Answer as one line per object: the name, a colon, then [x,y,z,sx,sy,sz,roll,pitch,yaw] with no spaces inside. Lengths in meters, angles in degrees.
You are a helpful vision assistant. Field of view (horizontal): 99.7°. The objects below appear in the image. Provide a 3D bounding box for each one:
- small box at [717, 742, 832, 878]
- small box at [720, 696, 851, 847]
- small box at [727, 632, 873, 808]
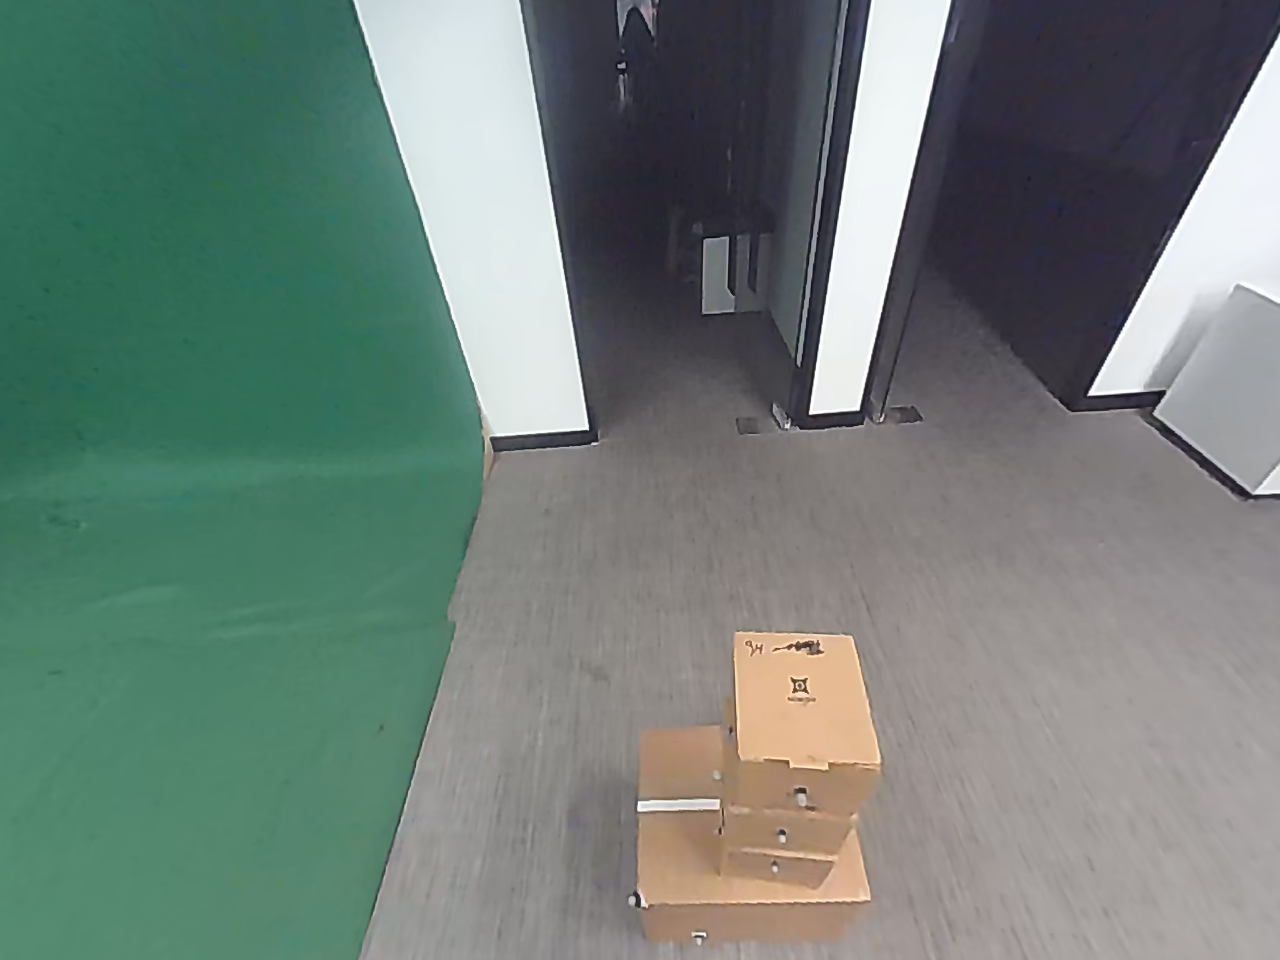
small box: [0.227,0.586,0.962,0.179,0.176,0.168,2,43,6]
small box: [0.217,0.462,0.856,0.179,0.176,0.168,-1,42,8]
small box: [0.208,0.335,0.752,0.168,0.176,0.179,0,43,7]
